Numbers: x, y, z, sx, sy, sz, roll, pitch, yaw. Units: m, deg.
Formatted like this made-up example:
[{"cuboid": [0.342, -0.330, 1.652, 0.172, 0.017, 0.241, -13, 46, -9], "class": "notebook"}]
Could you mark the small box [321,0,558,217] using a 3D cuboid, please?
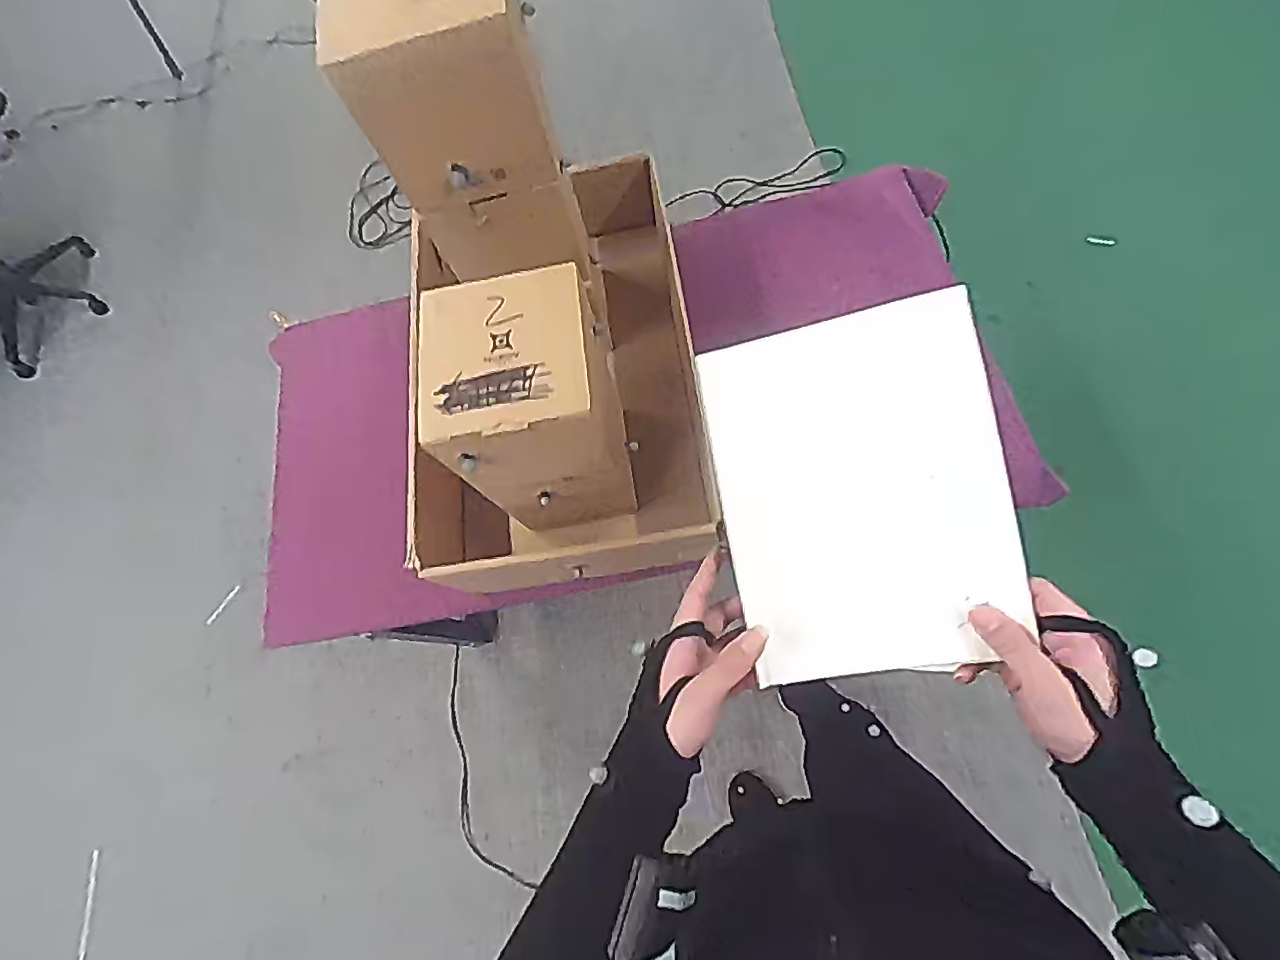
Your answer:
[{"cuboid": [-0.191, -0.410, 0.551, 0.168, 0.176, 0.179, -13, 71, 4], "class": "small box"}]

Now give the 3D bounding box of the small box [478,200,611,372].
[{"cuboid": [-0.149, -0.298, 0.855, 0.168, 0.176, 0.179, -12, 71, 4], "class": "small box"}]

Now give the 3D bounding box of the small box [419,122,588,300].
[{"cuboid": [-0.172, -0.358, 0.704, 0.168, 0.176, 0.179, -13, 70, 3], "class": "small box"}]
